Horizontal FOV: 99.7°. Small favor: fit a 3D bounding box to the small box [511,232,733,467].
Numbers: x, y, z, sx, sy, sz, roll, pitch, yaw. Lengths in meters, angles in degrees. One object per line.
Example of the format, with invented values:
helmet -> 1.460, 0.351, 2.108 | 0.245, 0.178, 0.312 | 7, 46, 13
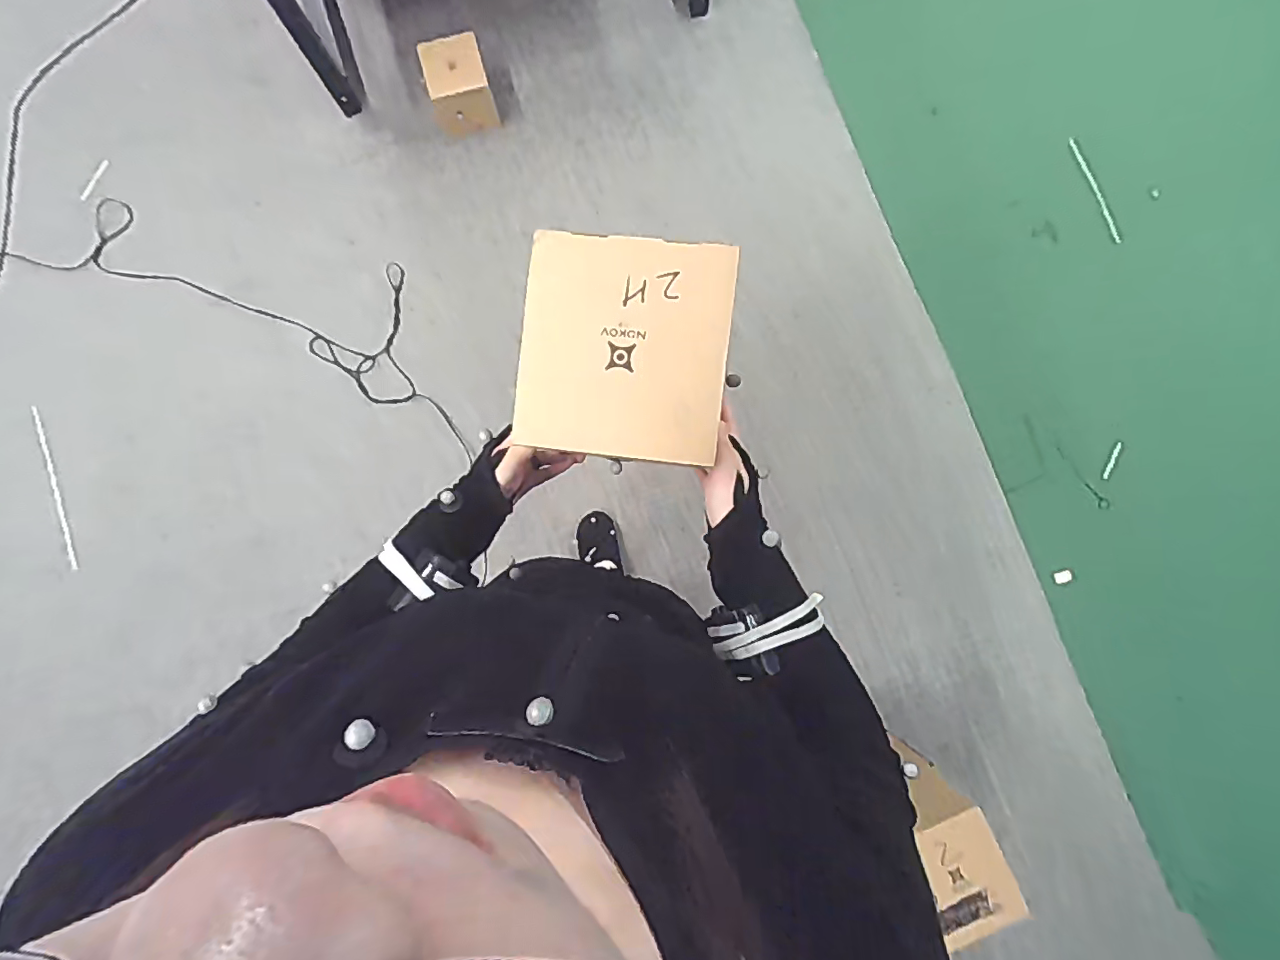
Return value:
small box -> -0.010, -0.110, 0.521 | 0.168, 0.176, 0.179 | 8, 92, 4
